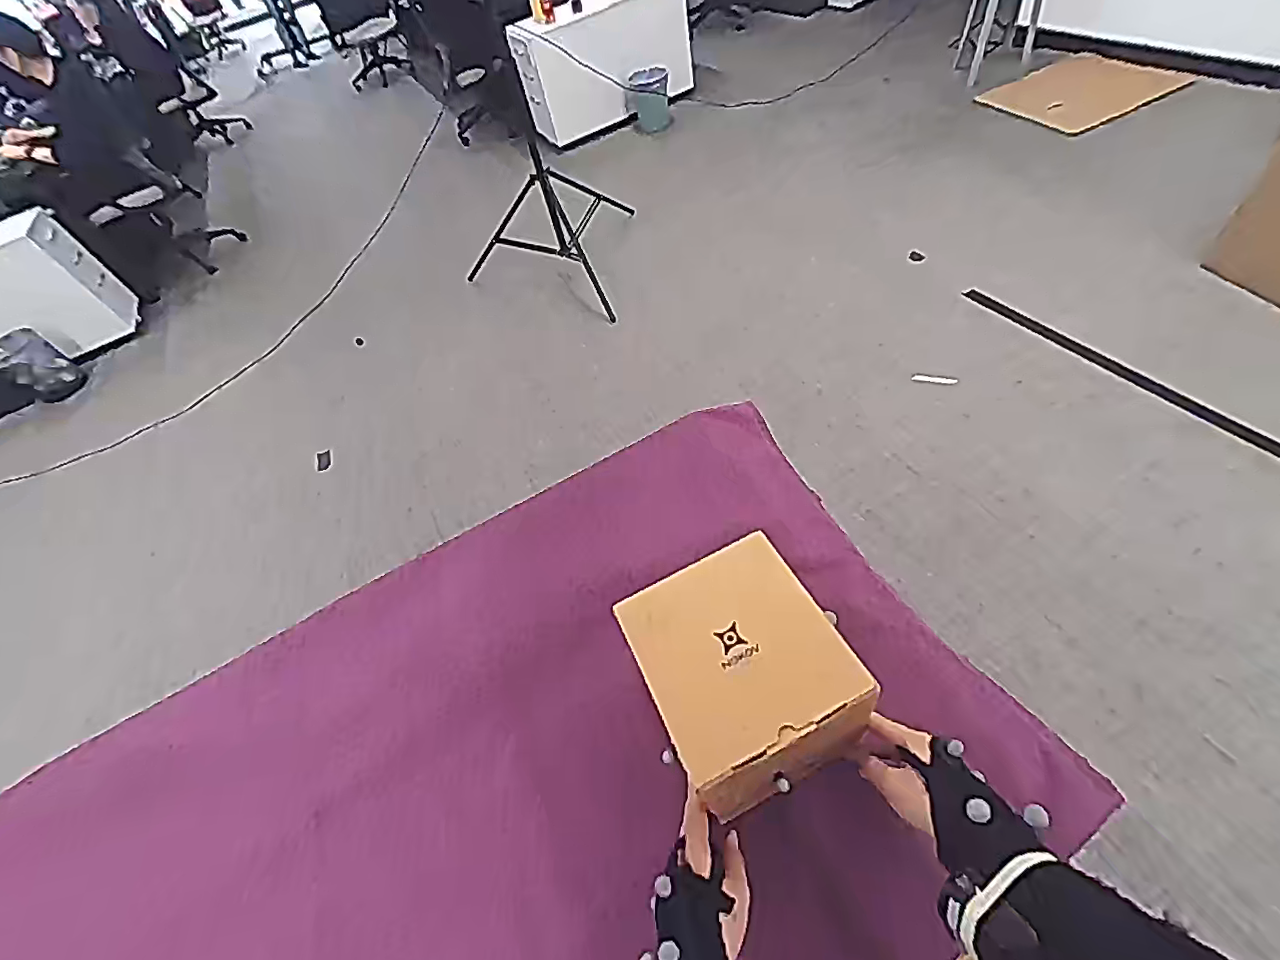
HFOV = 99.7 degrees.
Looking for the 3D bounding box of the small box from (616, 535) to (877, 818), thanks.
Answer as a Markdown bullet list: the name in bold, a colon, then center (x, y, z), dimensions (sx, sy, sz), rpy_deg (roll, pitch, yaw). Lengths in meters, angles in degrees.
- **small box**: center (0.097, 0.193, 0.528), dimensions (0.168, 0.176, 0.179), rpy_deg (-27, 50, -6)
